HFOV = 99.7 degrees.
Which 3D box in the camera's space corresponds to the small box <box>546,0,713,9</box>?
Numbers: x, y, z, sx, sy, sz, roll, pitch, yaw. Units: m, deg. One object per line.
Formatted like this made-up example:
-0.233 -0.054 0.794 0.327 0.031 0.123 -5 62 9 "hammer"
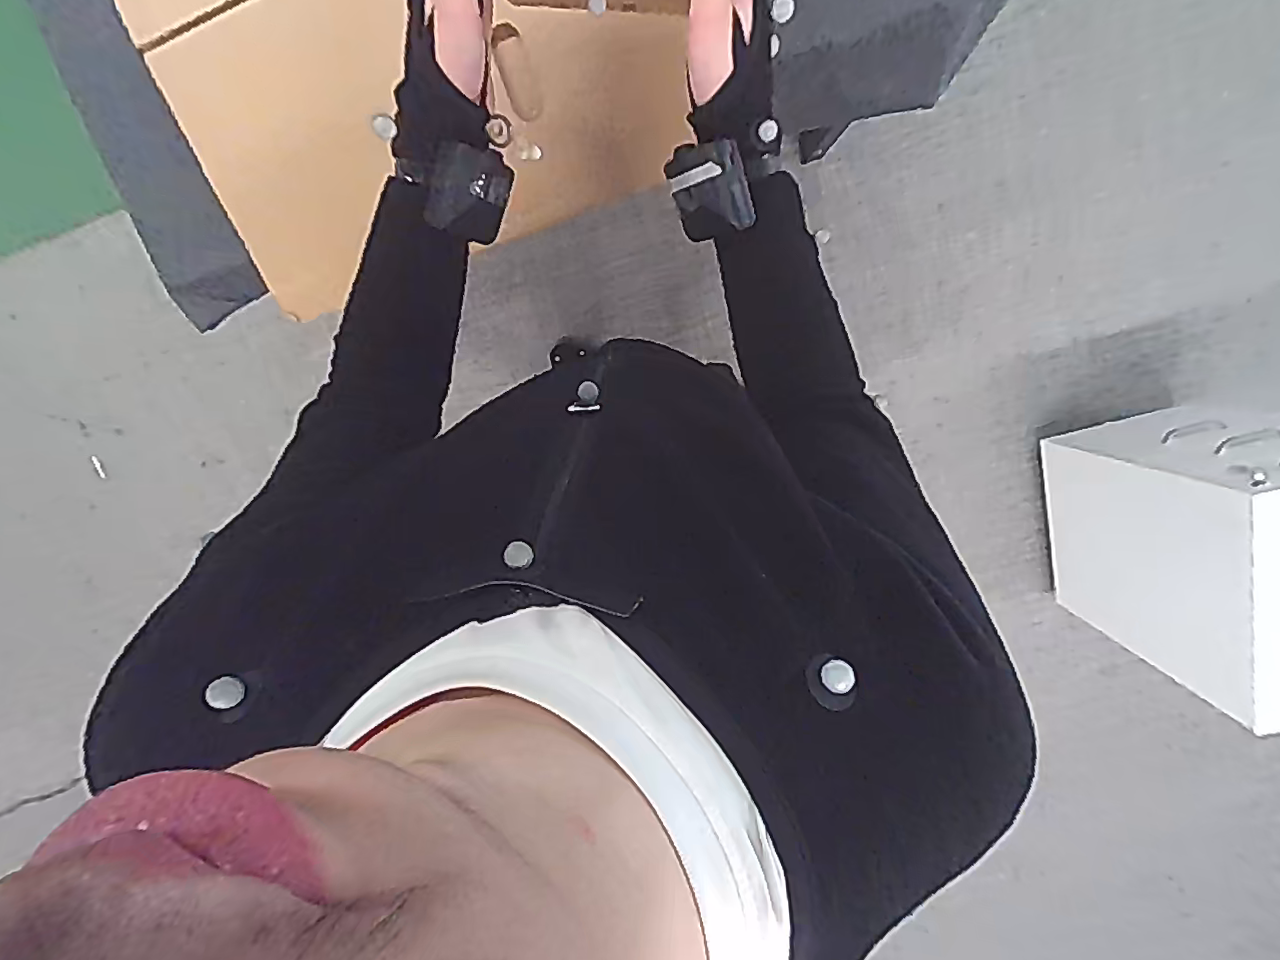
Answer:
-0.017 -0.445 0.361 0.168 0.176 0.179 2 119 2 "small box"
